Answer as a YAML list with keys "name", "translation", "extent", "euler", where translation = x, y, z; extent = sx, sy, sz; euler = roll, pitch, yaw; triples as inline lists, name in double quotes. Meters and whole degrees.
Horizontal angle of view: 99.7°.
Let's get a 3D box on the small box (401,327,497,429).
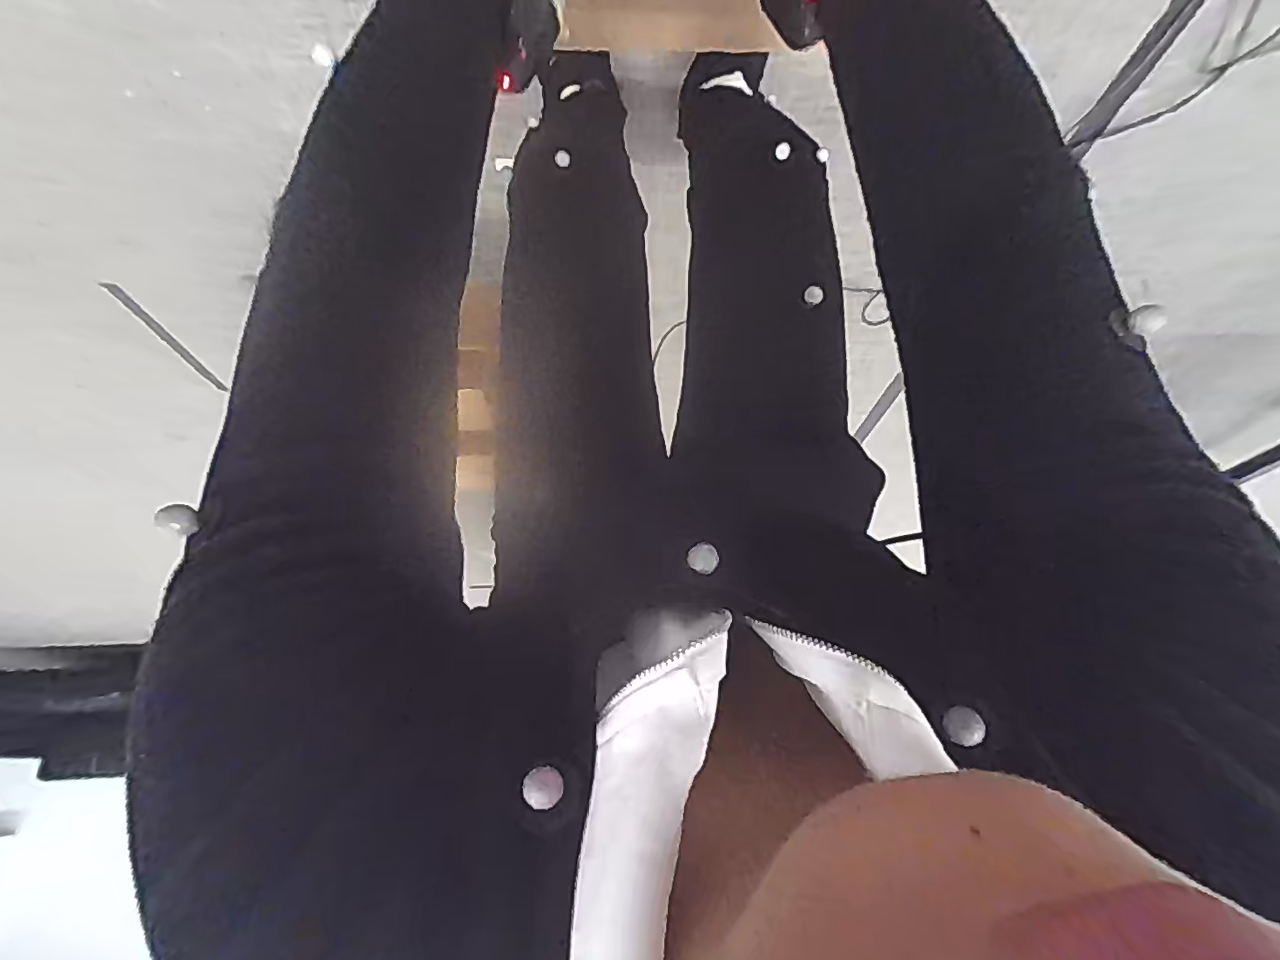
- name: "small box"
  translation: [-0.424, -0.230, 1.230]
  extent: [0.179, 0.176, 0.168]
  euler: [-1, 153, -7]
